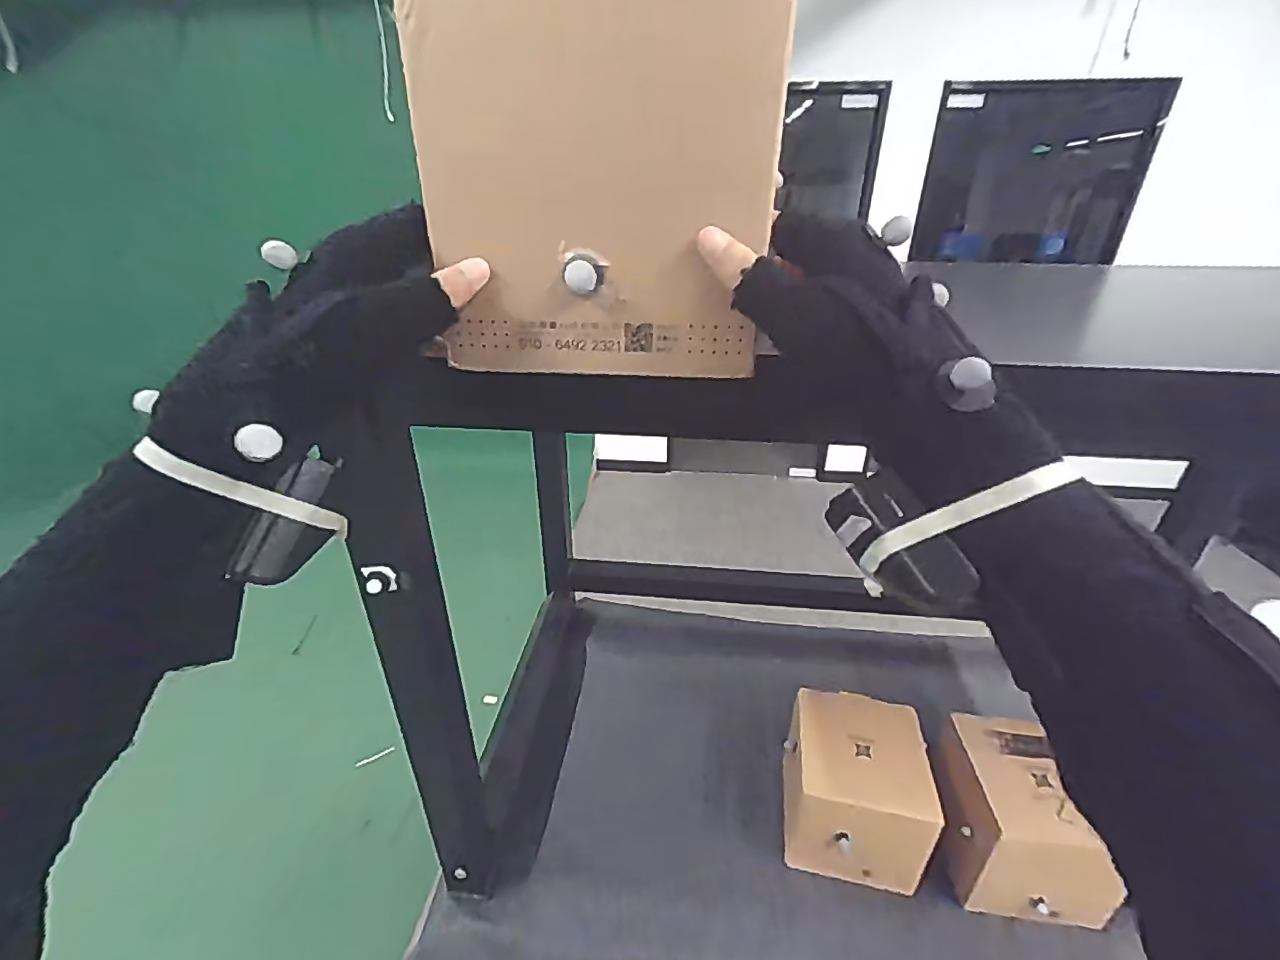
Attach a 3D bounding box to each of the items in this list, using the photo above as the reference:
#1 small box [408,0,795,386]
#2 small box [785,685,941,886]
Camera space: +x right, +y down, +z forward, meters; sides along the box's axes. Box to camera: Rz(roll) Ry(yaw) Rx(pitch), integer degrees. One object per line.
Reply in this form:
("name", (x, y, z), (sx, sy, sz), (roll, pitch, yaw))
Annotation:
("small box", (-0.014, -0.166, 0.331), (0.168, 0.176, 0.179), (2, 28, 3))
("small box", (0.303, 0.431, 0.771), (0.168, 0.176, 0.179), (6, 28, 11))
